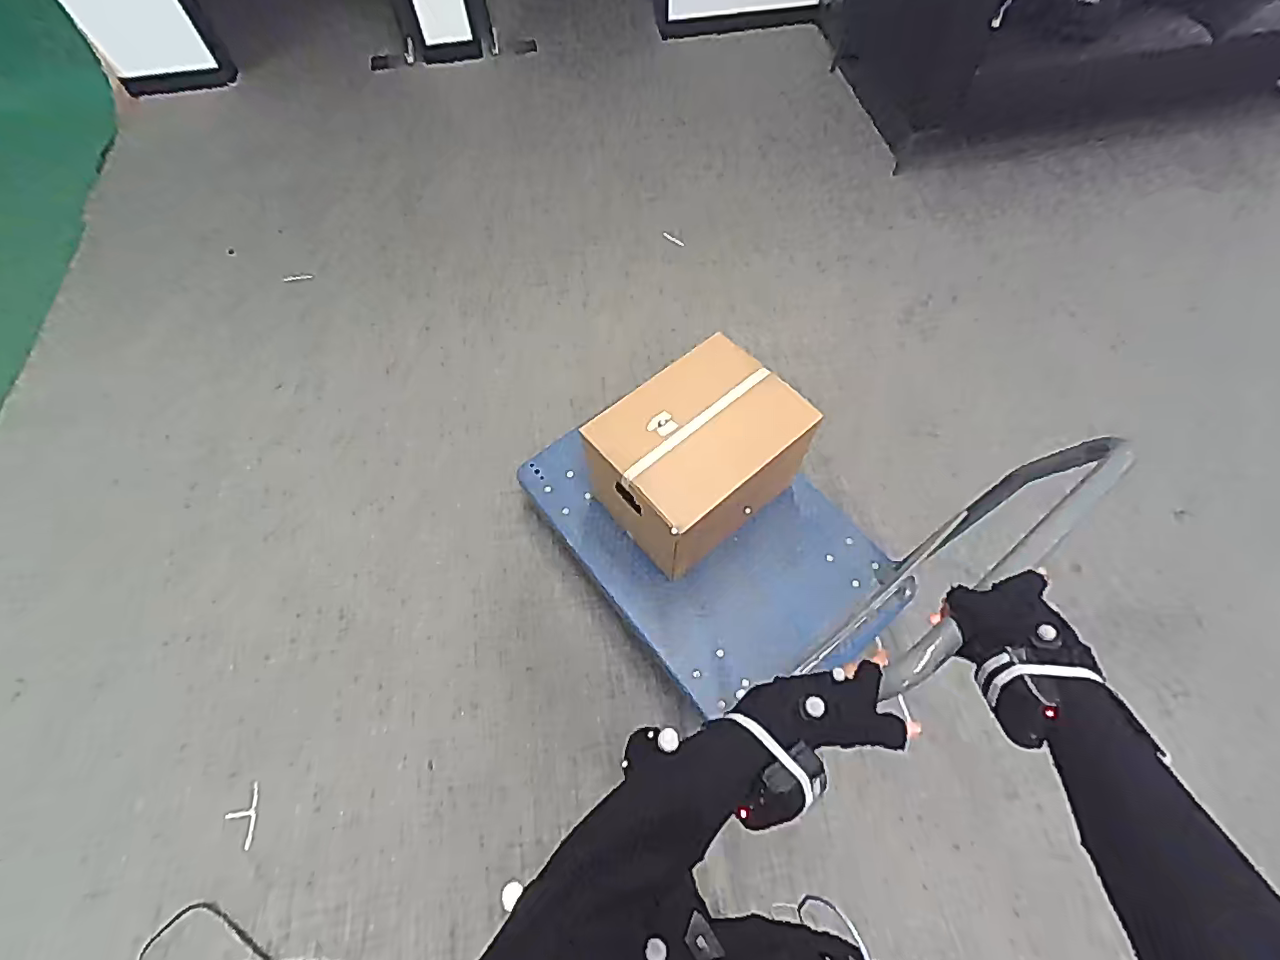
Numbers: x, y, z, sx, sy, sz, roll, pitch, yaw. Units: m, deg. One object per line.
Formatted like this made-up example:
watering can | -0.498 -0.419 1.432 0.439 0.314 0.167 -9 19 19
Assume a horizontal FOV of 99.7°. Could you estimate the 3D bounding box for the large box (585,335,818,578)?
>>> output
large box | 0.135 -0.048 1.256 0.408 0.320 0.320 -39 67 -16
